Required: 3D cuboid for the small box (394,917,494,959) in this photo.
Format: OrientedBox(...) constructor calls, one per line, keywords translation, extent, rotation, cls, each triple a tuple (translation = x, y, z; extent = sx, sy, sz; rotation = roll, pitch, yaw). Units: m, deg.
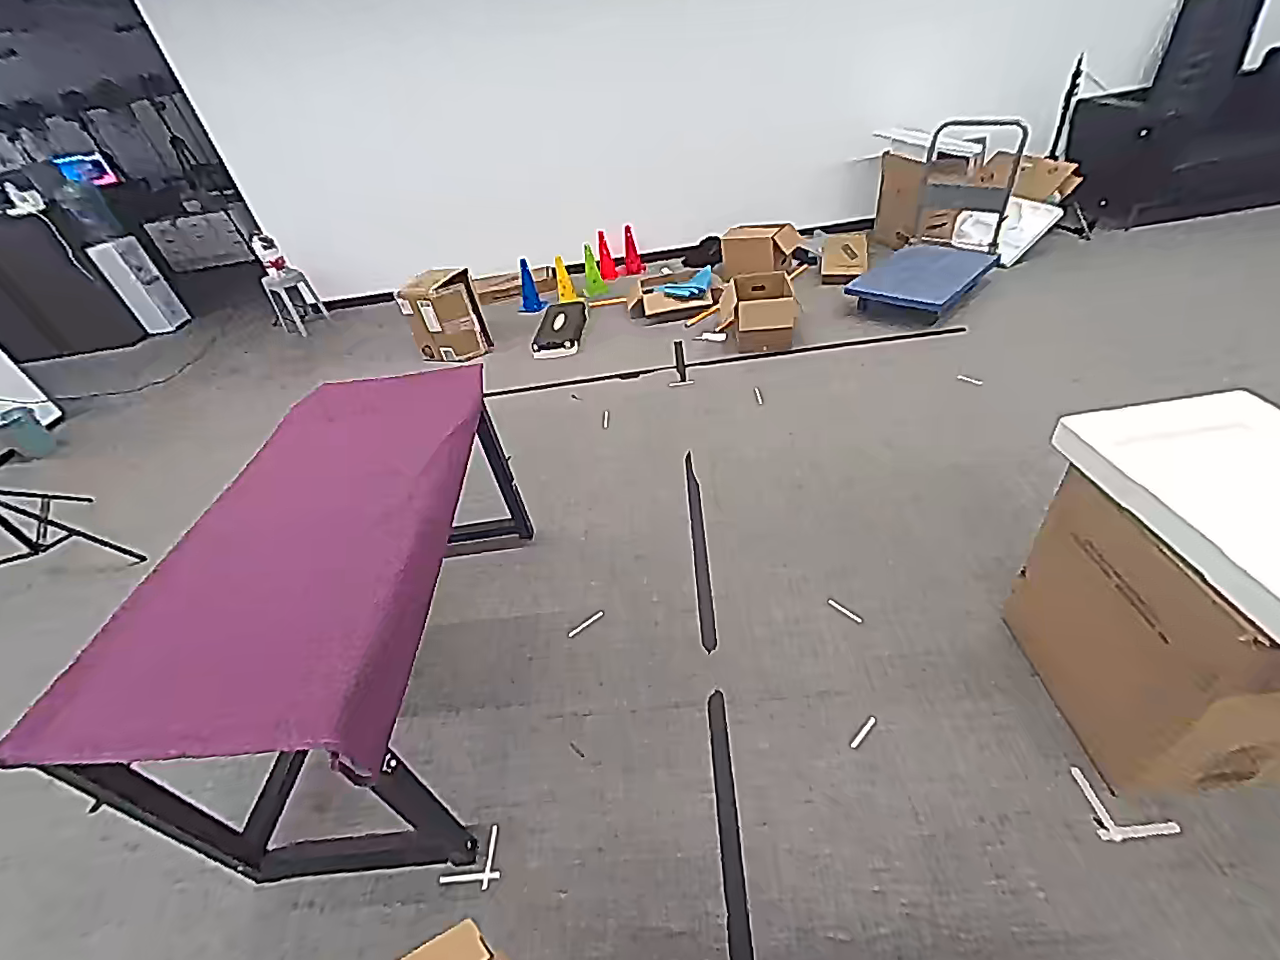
OrientedBox(translation=(-0.230, 0.636, 0.565), extent=(0.179, 0.176, 0.168), rotation=(0, 13, -45), cls="small box")
